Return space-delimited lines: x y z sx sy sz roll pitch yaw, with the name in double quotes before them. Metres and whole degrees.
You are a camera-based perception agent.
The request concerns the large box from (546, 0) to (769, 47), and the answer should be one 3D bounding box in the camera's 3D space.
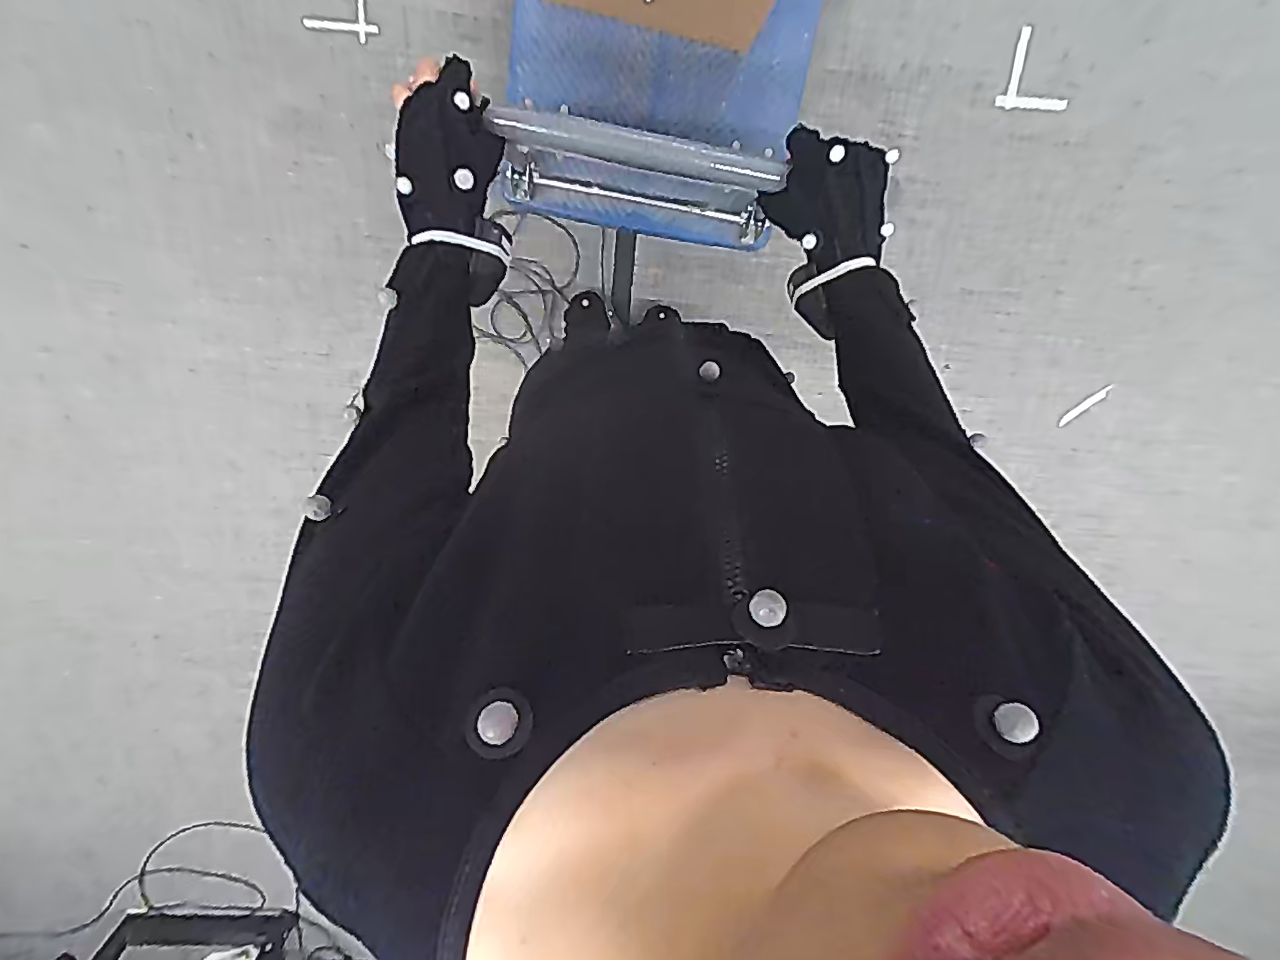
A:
"large box" 0.041 -0.966 0.858 0.408 0.320 0.320 10 108 -5
